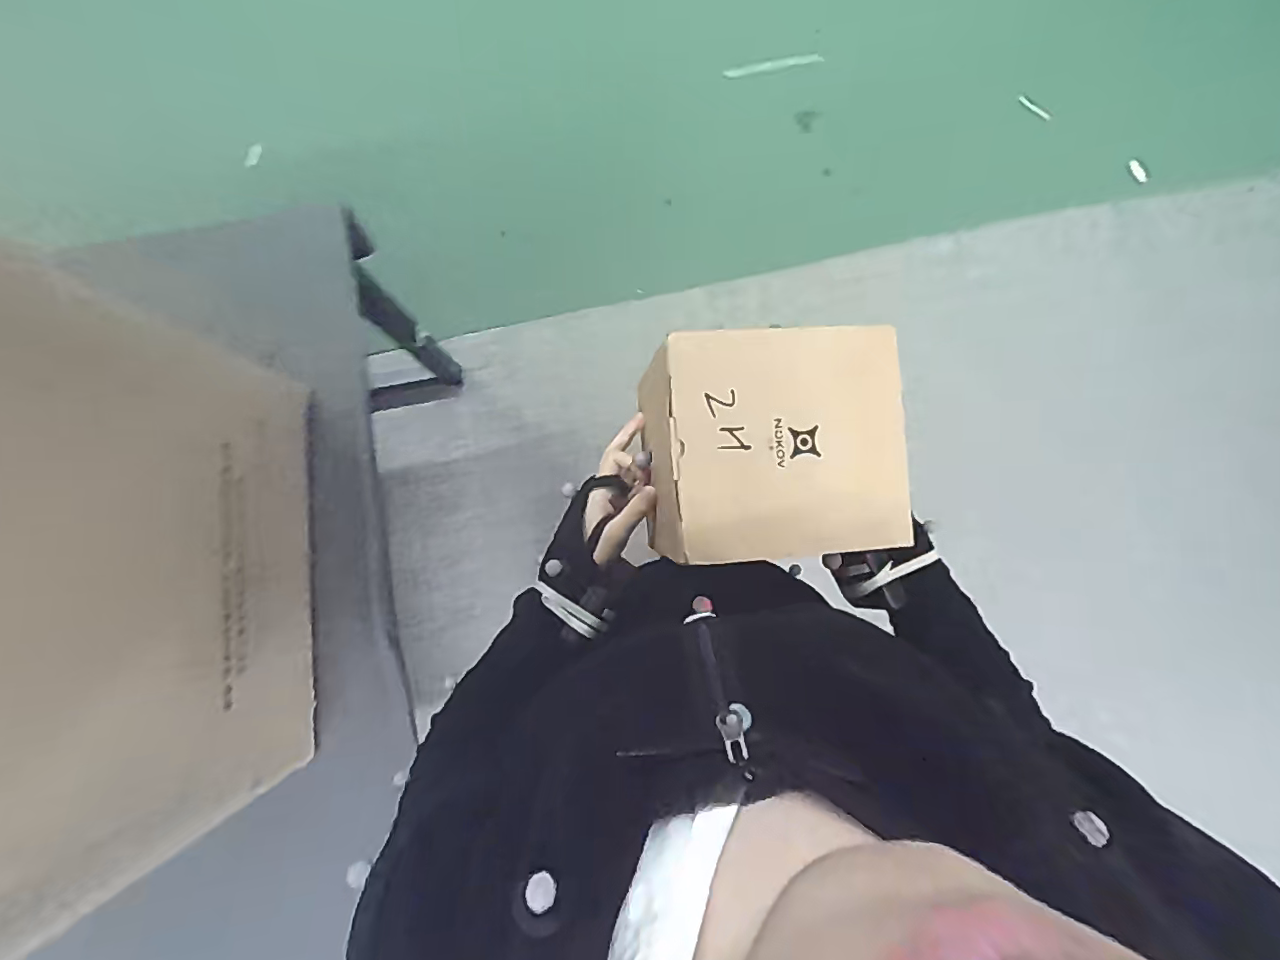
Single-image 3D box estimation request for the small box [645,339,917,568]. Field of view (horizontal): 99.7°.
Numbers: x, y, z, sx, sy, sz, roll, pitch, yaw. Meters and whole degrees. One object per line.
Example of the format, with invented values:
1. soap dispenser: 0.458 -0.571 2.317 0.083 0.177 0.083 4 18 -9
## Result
1. small box: 0.106 -0.017 0.473 0.179 0.176 0.168 -3 86 -8
